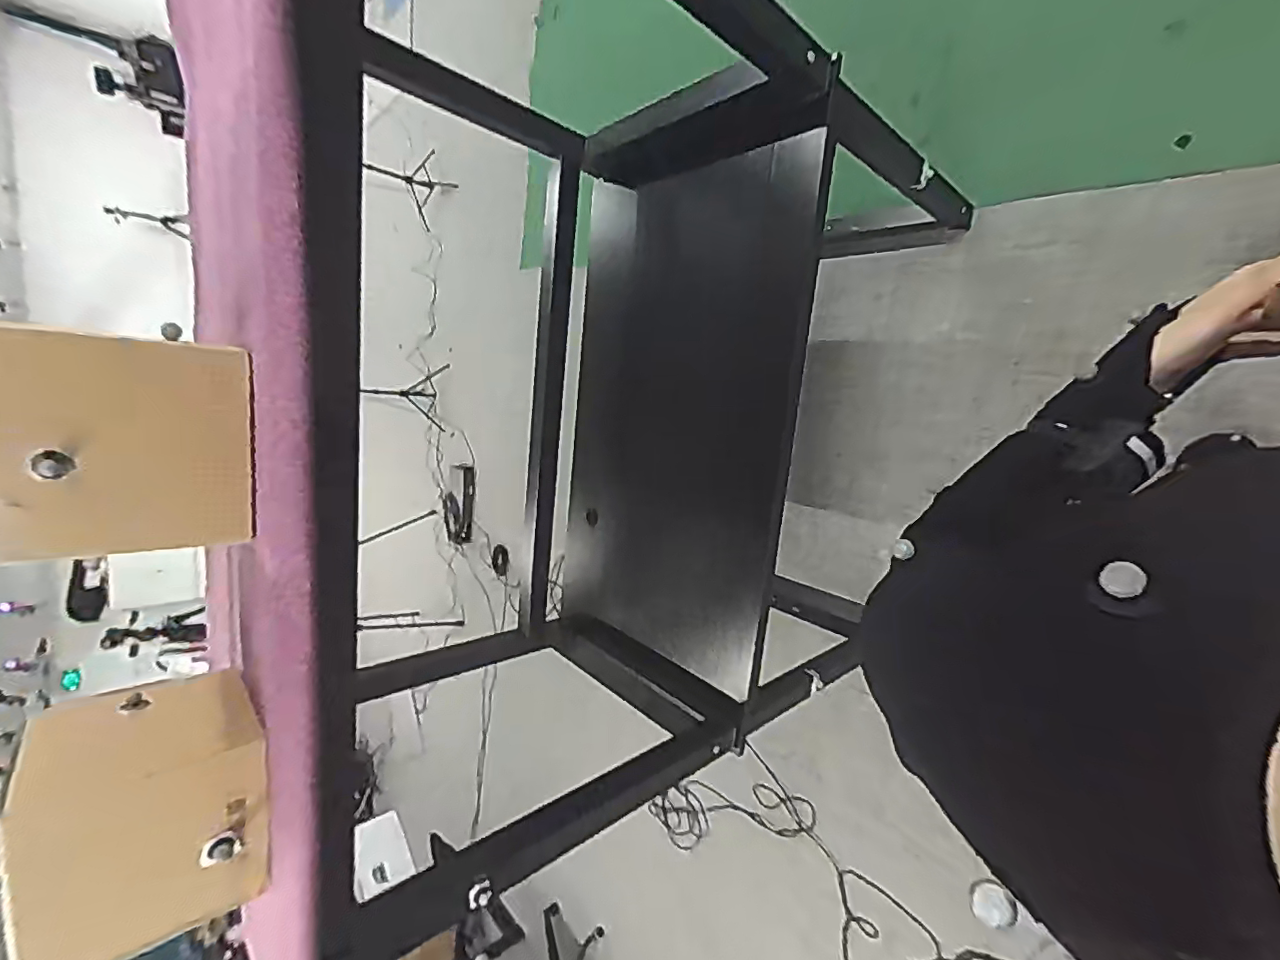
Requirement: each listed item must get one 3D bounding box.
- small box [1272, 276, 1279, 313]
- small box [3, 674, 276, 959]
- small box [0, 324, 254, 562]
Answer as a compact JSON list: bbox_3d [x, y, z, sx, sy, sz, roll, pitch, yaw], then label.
[{"bbox_3d":[0.507,-0.163,0.288,0.179,0.176,0.168,33,116,39],"label":"small box"},{"bbox_3d":[-0.467,0.309,0.522,0.179,0.176,0.168,10,101,45],"label":"small box"},{"bbox_3d":[-0.461,-0.041,0.489,0.168,0.176,0.179,17,104,47],"label":"small box"}]
